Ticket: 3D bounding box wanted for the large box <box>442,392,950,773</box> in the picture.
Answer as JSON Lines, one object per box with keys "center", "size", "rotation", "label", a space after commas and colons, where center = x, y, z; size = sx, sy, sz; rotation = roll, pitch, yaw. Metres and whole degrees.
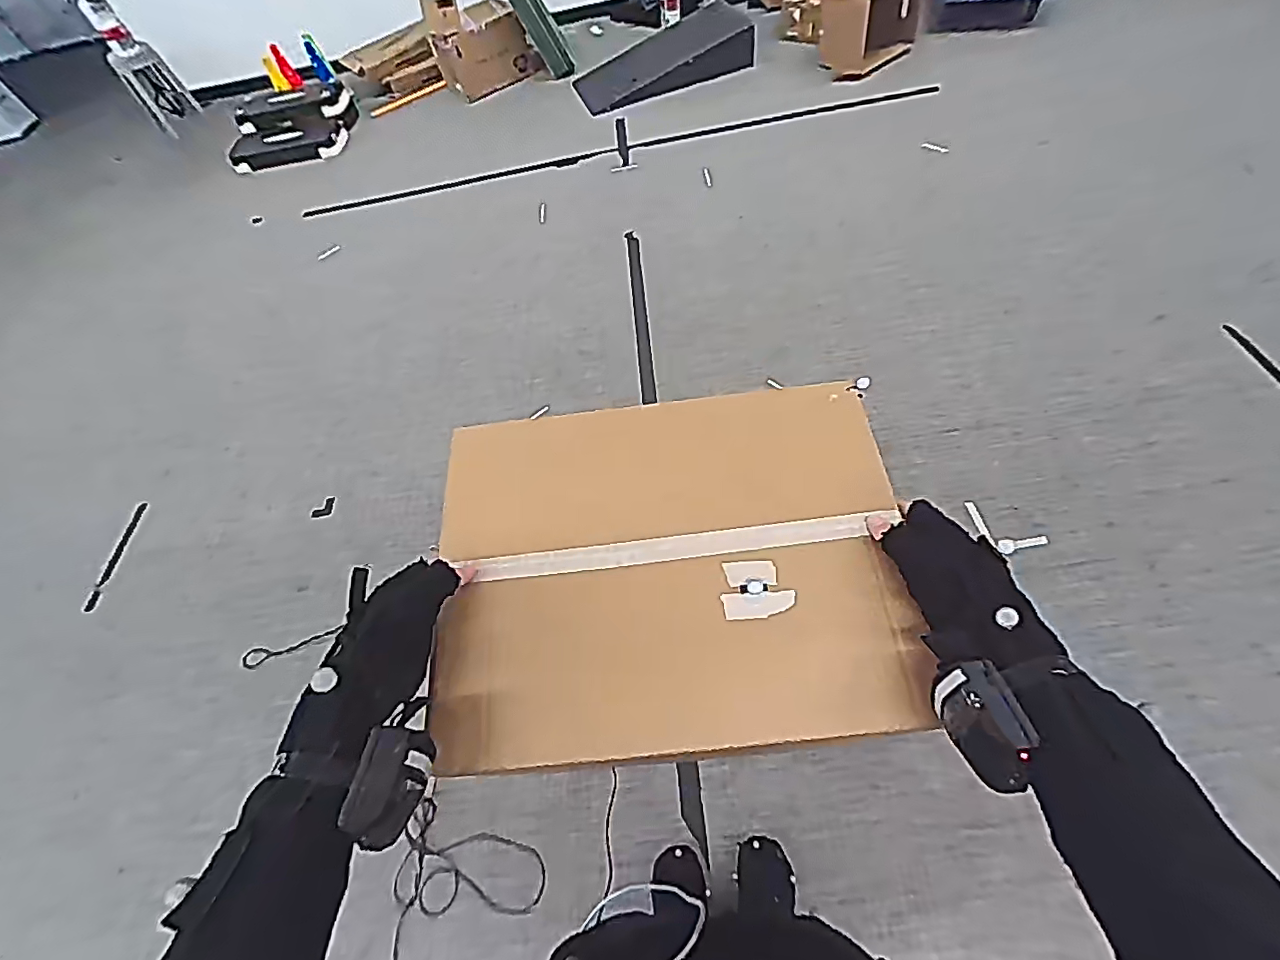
{"center": [0.037, 0.137, 0.615], "size": [0.408, 0.320, 0.320], "rotation": [-7, 62, 1], "label": "large box"}
